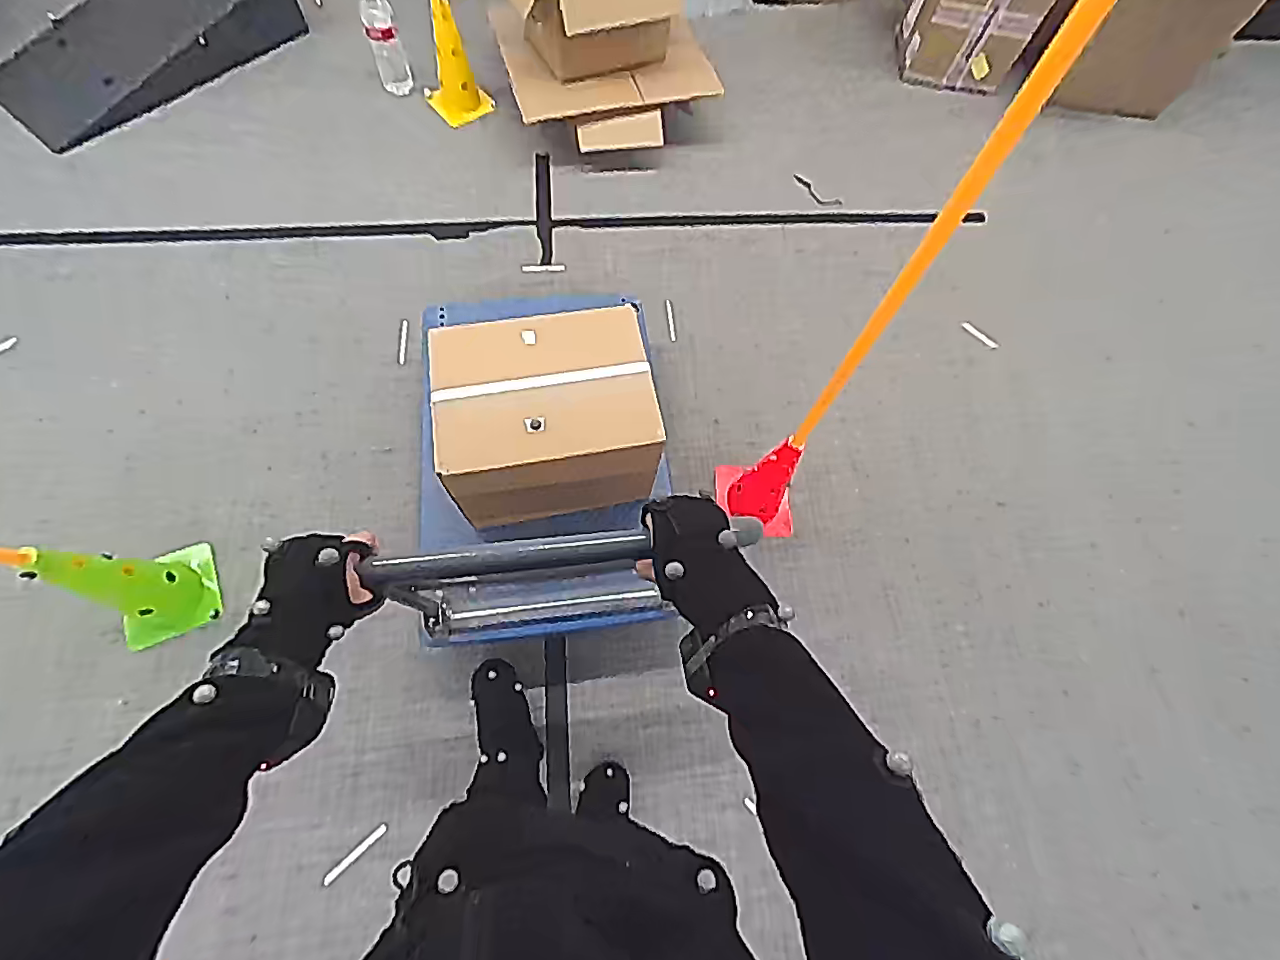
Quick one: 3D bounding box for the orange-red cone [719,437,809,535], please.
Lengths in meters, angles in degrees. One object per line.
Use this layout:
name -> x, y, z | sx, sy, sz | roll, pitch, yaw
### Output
orange-red cone -> 0.327, -0.012, 1.302 | 0.199, 0.360, 0.198 | 3, 68, -5
